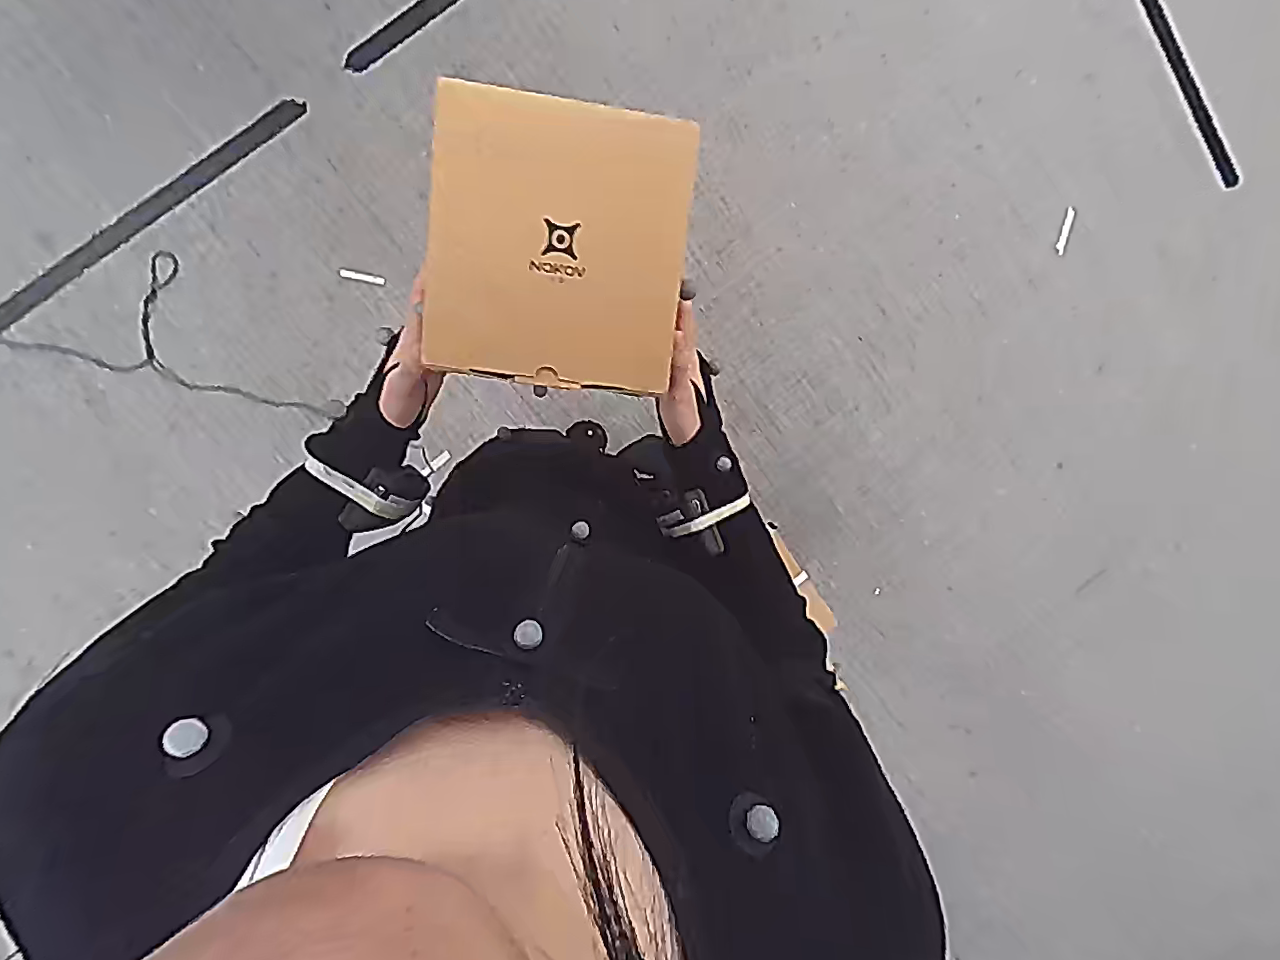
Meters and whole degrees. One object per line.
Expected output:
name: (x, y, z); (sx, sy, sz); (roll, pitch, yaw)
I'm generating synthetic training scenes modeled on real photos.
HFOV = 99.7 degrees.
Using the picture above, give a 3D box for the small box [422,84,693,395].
small box: (-0.062, -0.164, 0.430); (0.168, 0.176, 0.179); (4, 100, -6)
